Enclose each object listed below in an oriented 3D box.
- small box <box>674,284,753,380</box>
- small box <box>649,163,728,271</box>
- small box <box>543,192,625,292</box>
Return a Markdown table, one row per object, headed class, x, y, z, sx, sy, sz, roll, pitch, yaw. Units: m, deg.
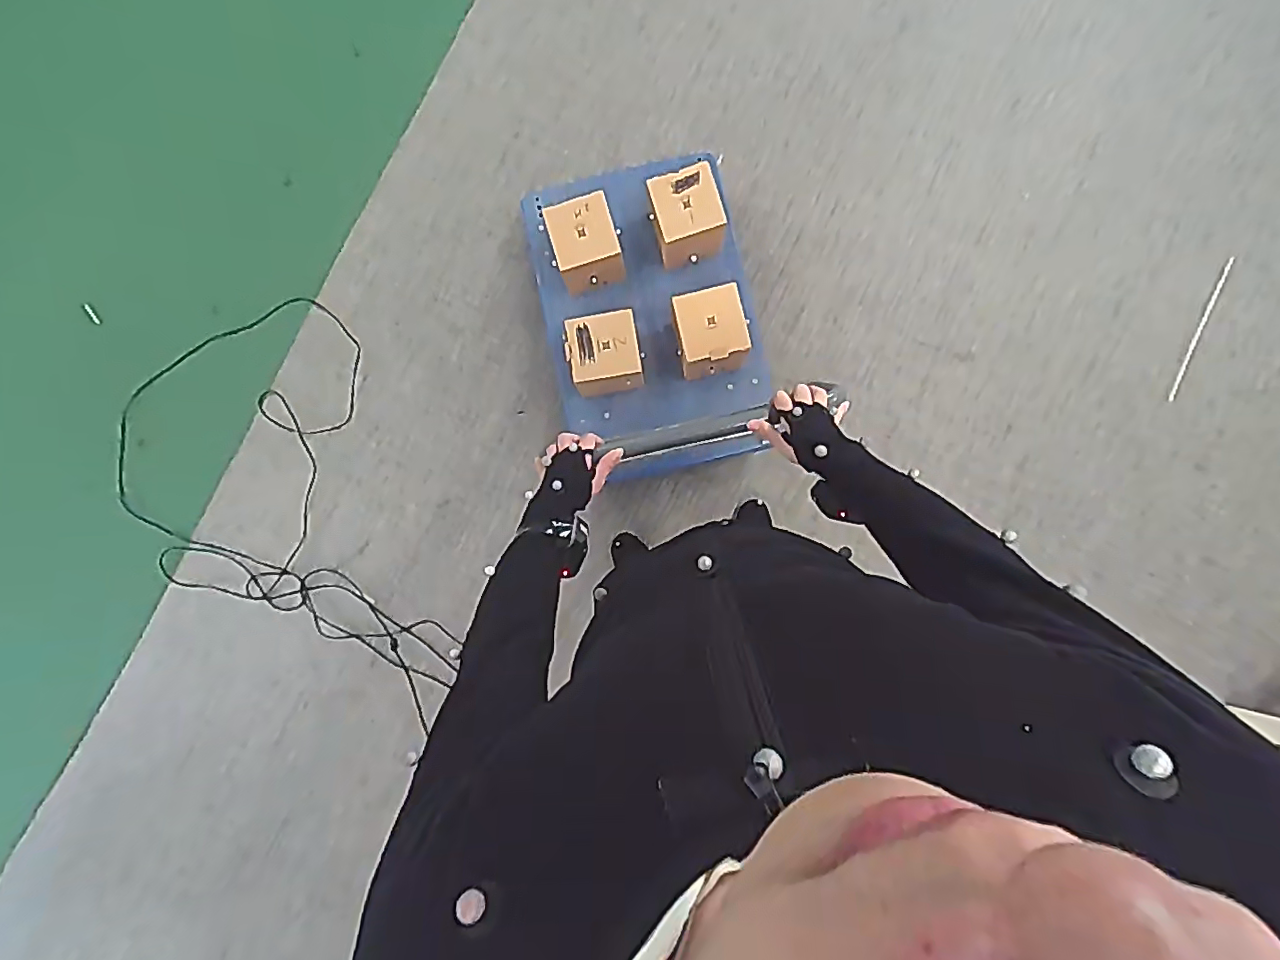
| class | x | y | z | sx | sy | sz | roll | pitch | yaw |
| --- | --- | --- | --- | --- | --- | --- | --- | --- | --- |
| small box | 0.184 | -0.380 | 1.415 | 0.168 | 0.176 | 0.179 | -13 | 86 | 3 |
| small box | 0.124 | -0.692 | 1.438 | 0.168 | 0.176 | 0.179 | -17 | 86 | 2 |
| small box | -0.143 | -0.623 | 1.447 | 0.168 | 0.176 | 0.179 | -16 | 86 | 1 |
